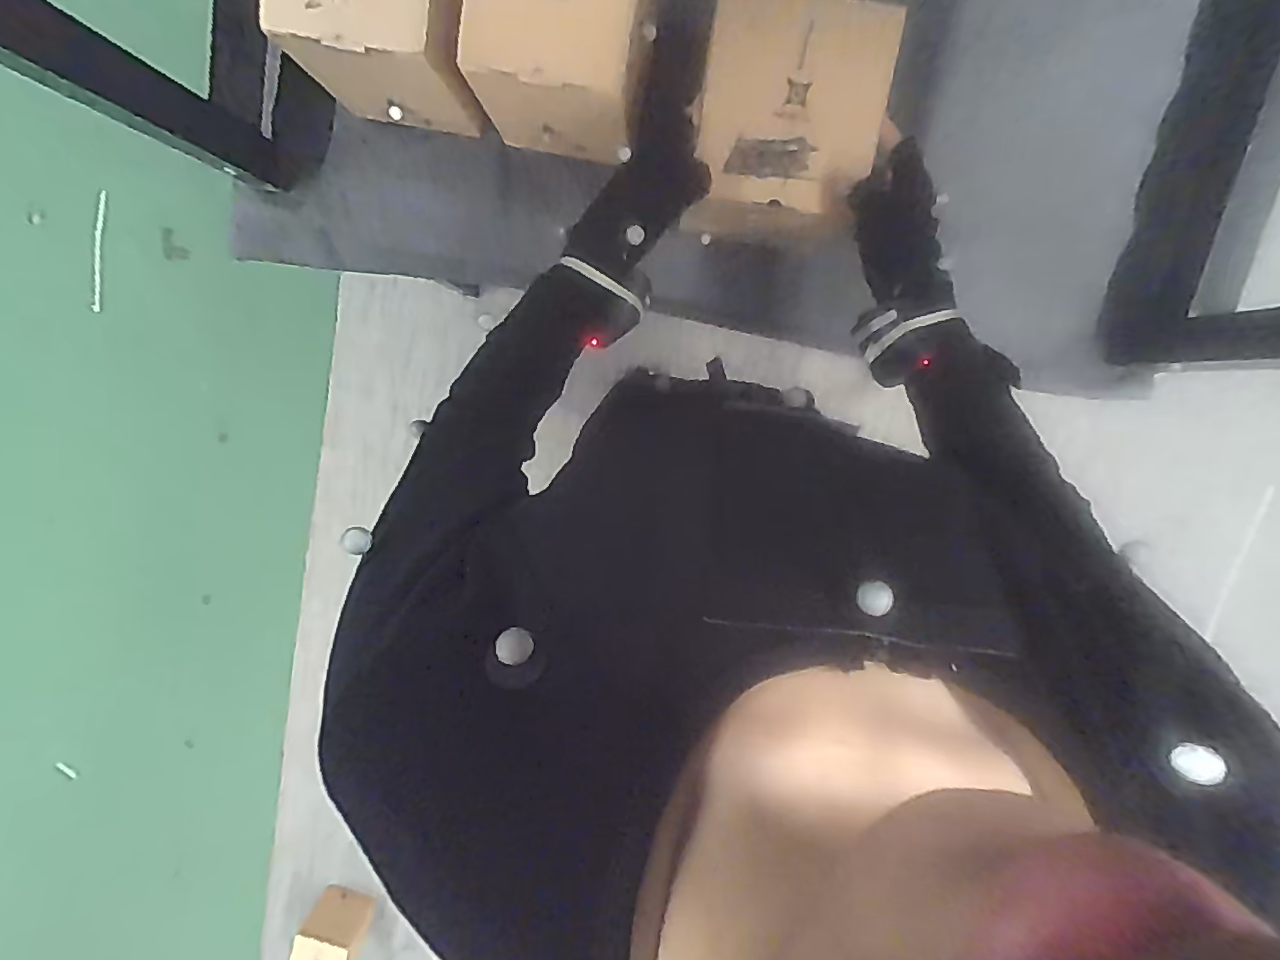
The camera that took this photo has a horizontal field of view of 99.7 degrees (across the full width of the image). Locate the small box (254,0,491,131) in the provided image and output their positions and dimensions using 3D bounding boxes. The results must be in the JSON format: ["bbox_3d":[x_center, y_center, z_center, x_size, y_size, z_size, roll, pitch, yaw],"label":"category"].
[{"bbox_3d":[-0.270,-0.518,0.581,0.168,0.176,0.179,10,100,1],"label":"small box"}]

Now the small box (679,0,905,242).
[{"bbox_3d":[0.135,-0.359,0.557,0.168,0.176,0.179,8,103,-2],"label":"small box"}]
